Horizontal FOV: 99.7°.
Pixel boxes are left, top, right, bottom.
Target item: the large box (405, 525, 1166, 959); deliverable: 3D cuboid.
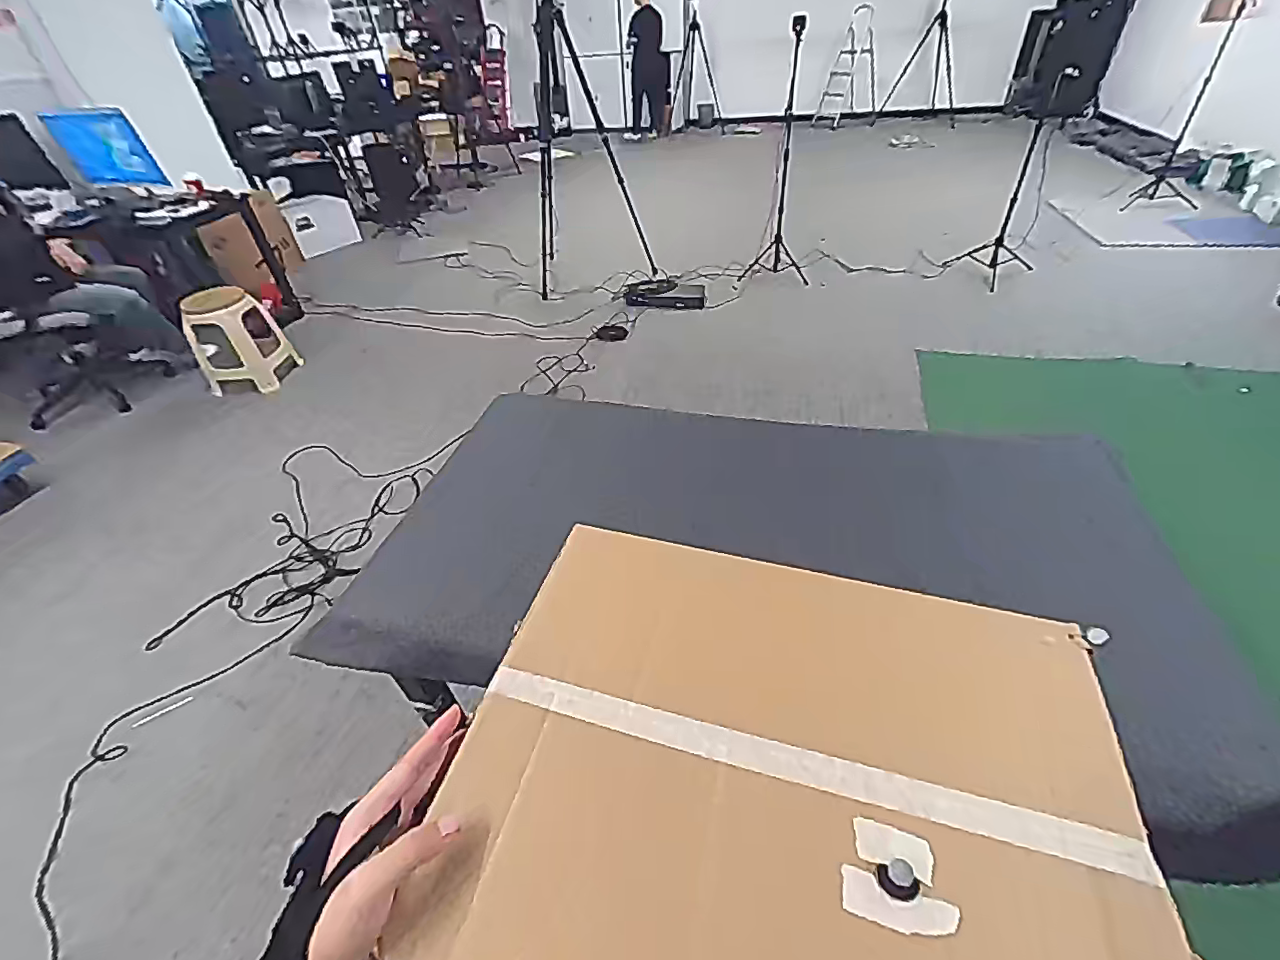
[{"bbox_3d":[0.100,0.282,0.465,0.408,0.320,0.320,10,46,13],"label":"large box"}]
